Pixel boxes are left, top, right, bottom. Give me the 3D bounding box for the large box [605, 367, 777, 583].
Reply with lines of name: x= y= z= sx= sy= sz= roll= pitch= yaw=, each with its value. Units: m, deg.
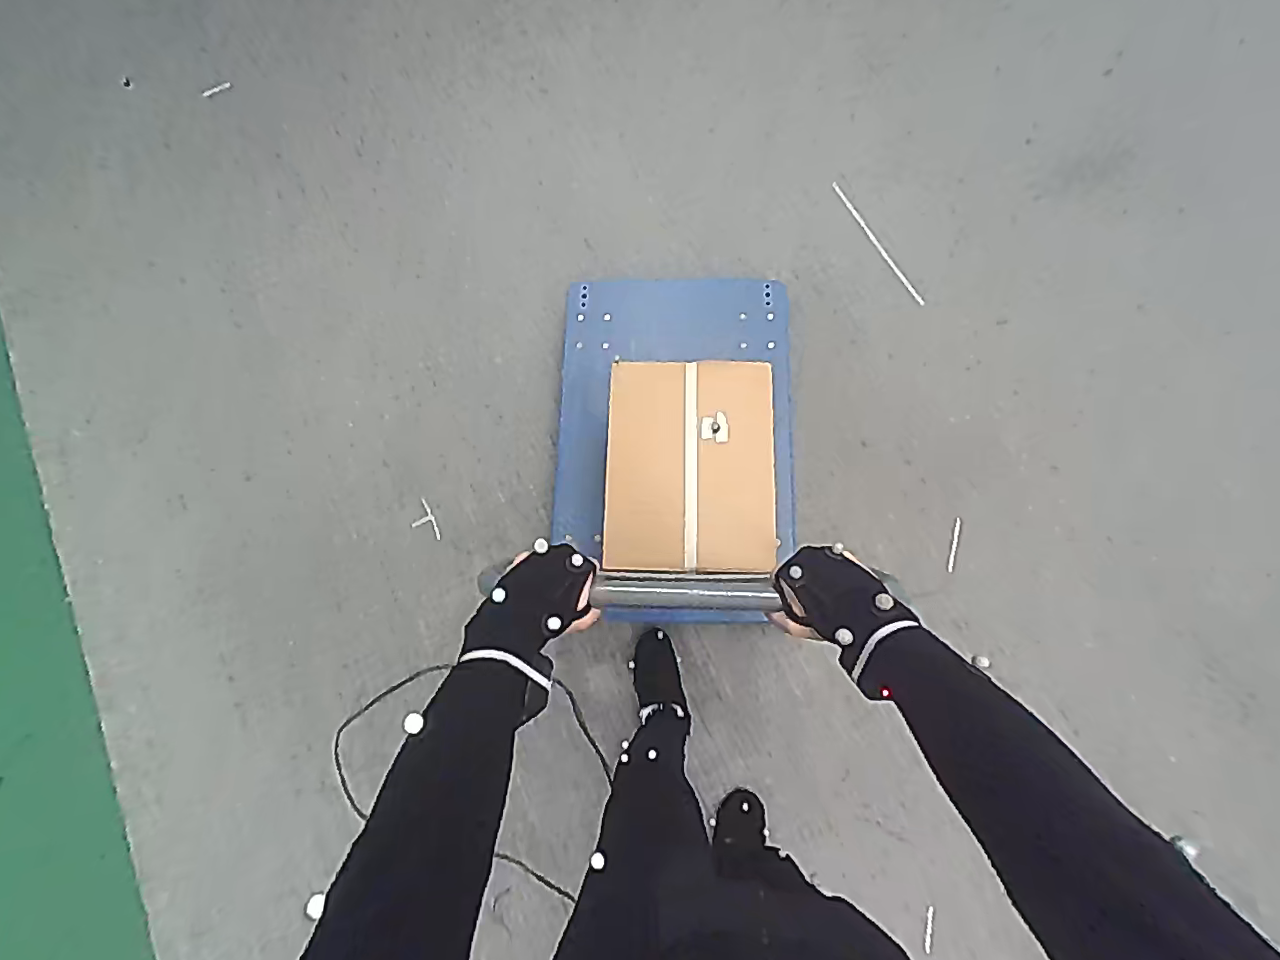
large box: x=0.098 y=0.009 z=1.159 sx=0.320 sy=0.320 sz=0.408 roll=1 pitch=76 yaw=2
